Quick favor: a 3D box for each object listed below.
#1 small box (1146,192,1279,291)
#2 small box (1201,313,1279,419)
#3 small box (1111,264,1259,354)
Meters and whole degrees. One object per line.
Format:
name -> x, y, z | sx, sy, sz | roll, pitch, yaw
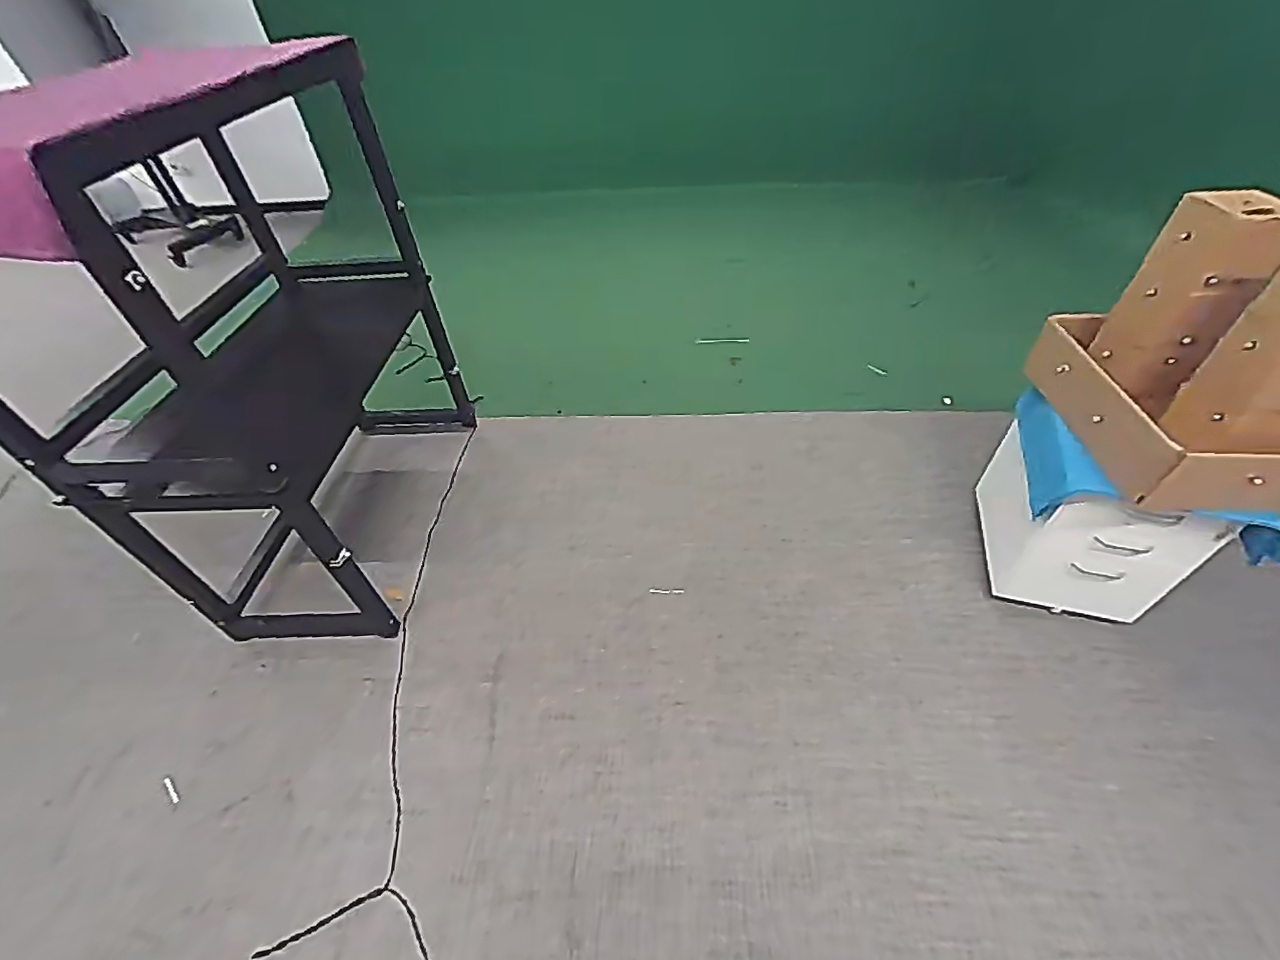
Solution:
small box -> 1.382, -0.562, 1.283 | 0.168, 0.176, 0.179 | 0, 45, 3
small box -> 1.433, -0.252, 1.204 | 0.168, 0.176, 0.179 | 3, 45, 6
small box -> 1.385, -0.443, 1.395 | 0.168, 0.176, 0.179 | -3, 46, 0
